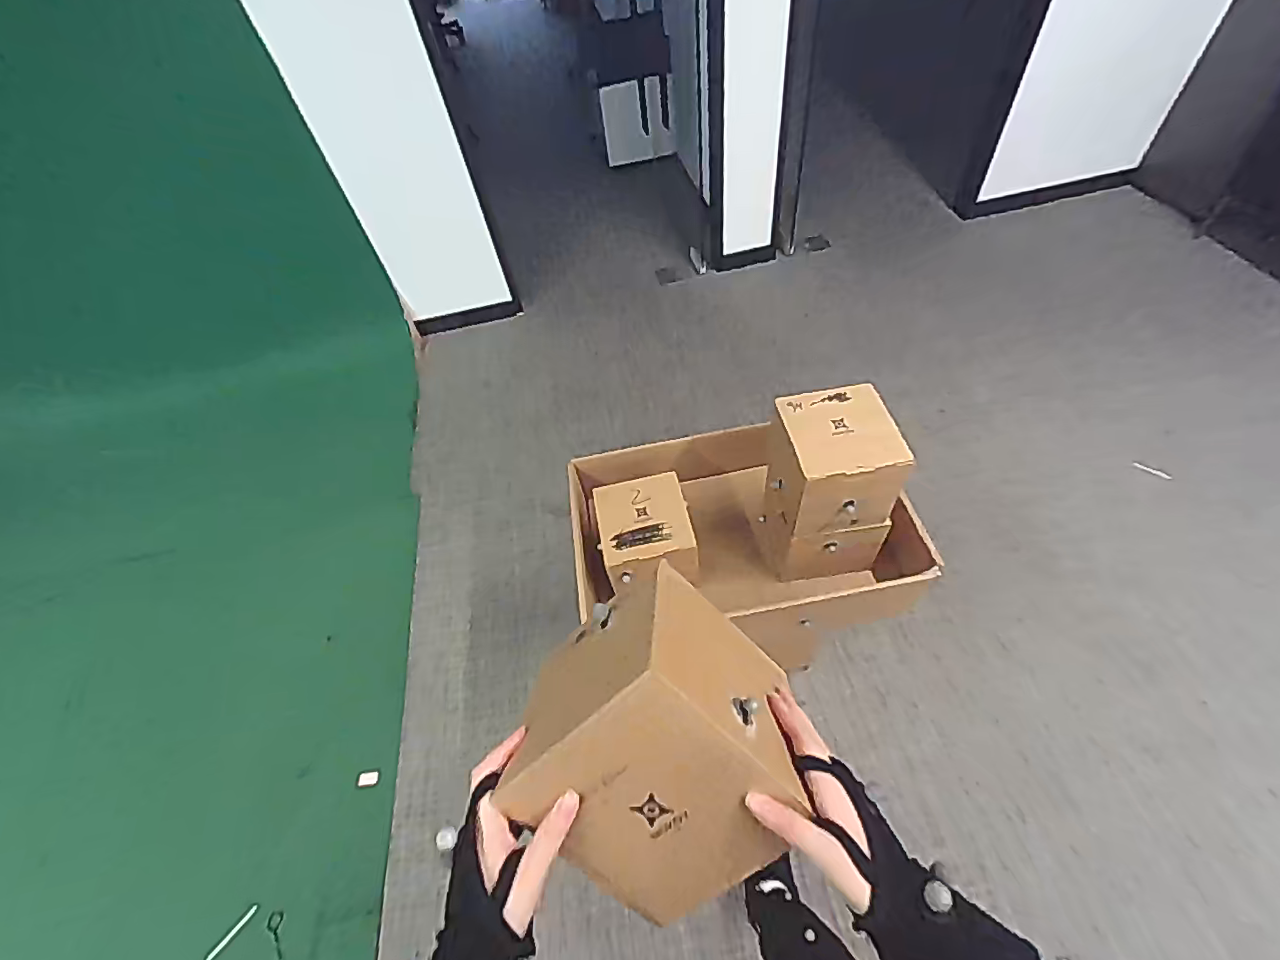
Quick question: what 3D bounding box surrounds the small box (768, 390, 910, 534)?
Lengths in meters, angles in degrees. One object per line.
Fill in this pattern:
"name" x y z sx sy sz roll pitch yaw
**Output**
"small box" 0.320 -0.022 0.910 0.168 0.176 0.179 -9 52 1
